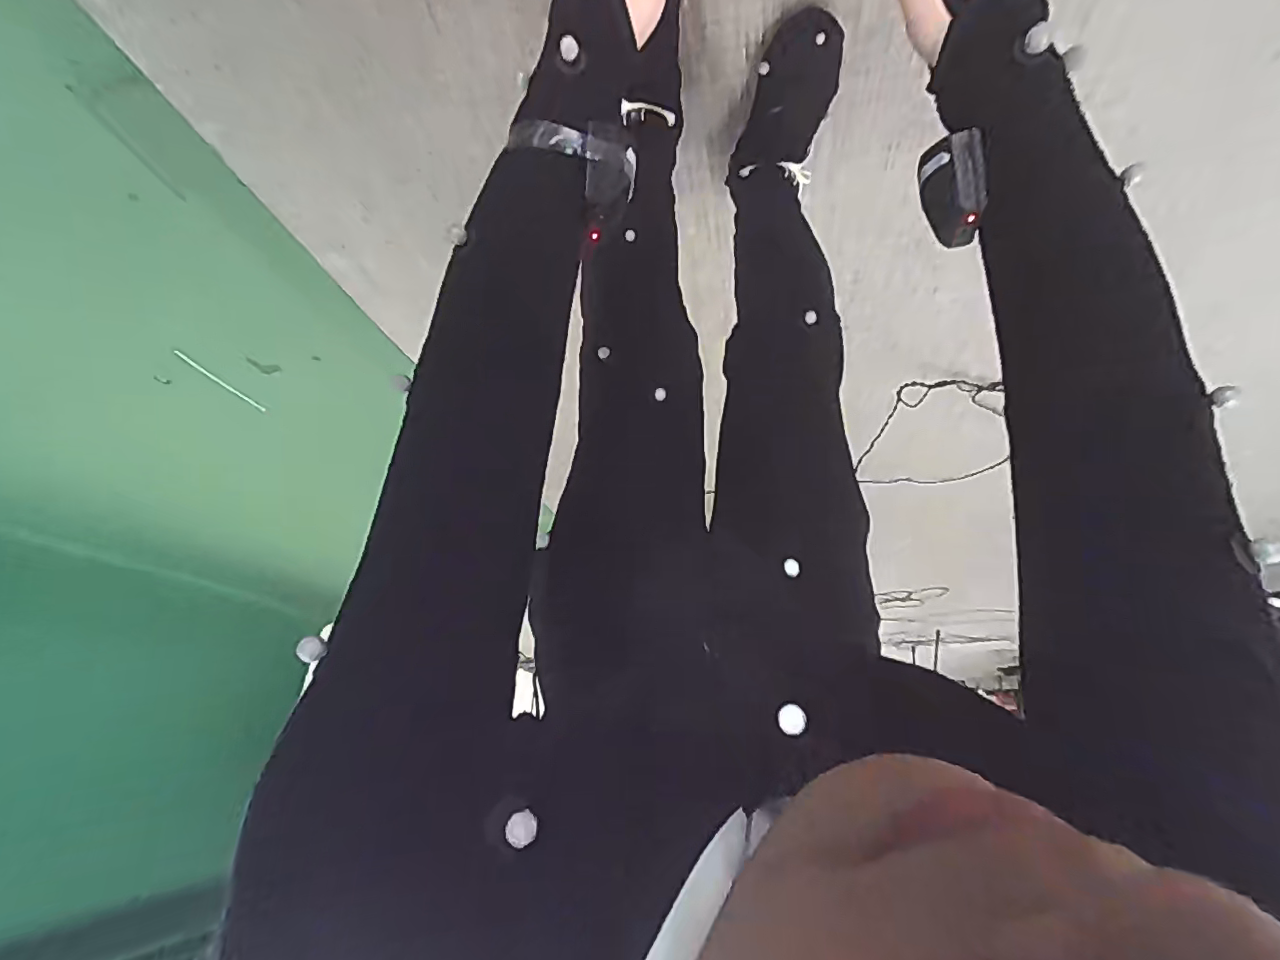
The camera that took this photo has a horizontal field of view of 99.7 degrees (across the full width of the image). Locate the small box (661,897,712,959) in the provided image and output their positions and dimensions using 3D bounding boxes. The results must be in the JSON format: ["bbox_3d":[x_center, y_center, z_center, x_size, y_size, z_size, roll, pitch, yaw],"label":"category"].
[{"bbox_3d":[0.172,1.621,1.944,0.168,0.176,0.179,-3,155,11],"label":"small box"}]
